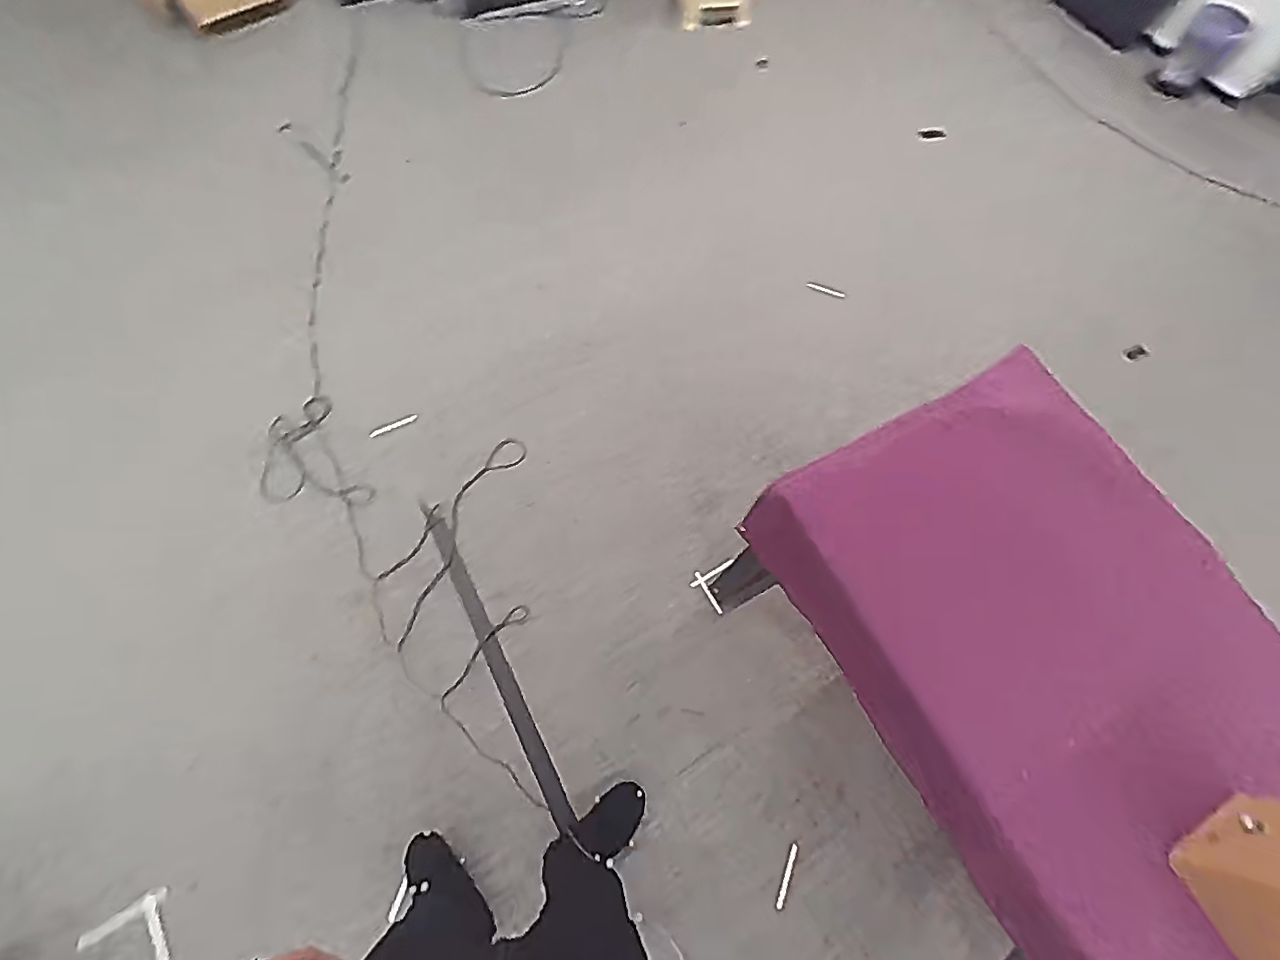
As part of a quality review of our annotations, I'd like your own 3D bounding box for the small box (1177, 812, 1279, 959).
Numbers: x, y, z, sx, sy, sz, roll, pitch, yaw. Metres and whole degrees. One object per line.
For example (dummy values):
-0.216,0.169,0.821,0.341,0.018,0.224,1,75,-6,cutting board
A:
0.829,0.533,0.643,0.168,0.176,0.179,-23,71,-14,small box
